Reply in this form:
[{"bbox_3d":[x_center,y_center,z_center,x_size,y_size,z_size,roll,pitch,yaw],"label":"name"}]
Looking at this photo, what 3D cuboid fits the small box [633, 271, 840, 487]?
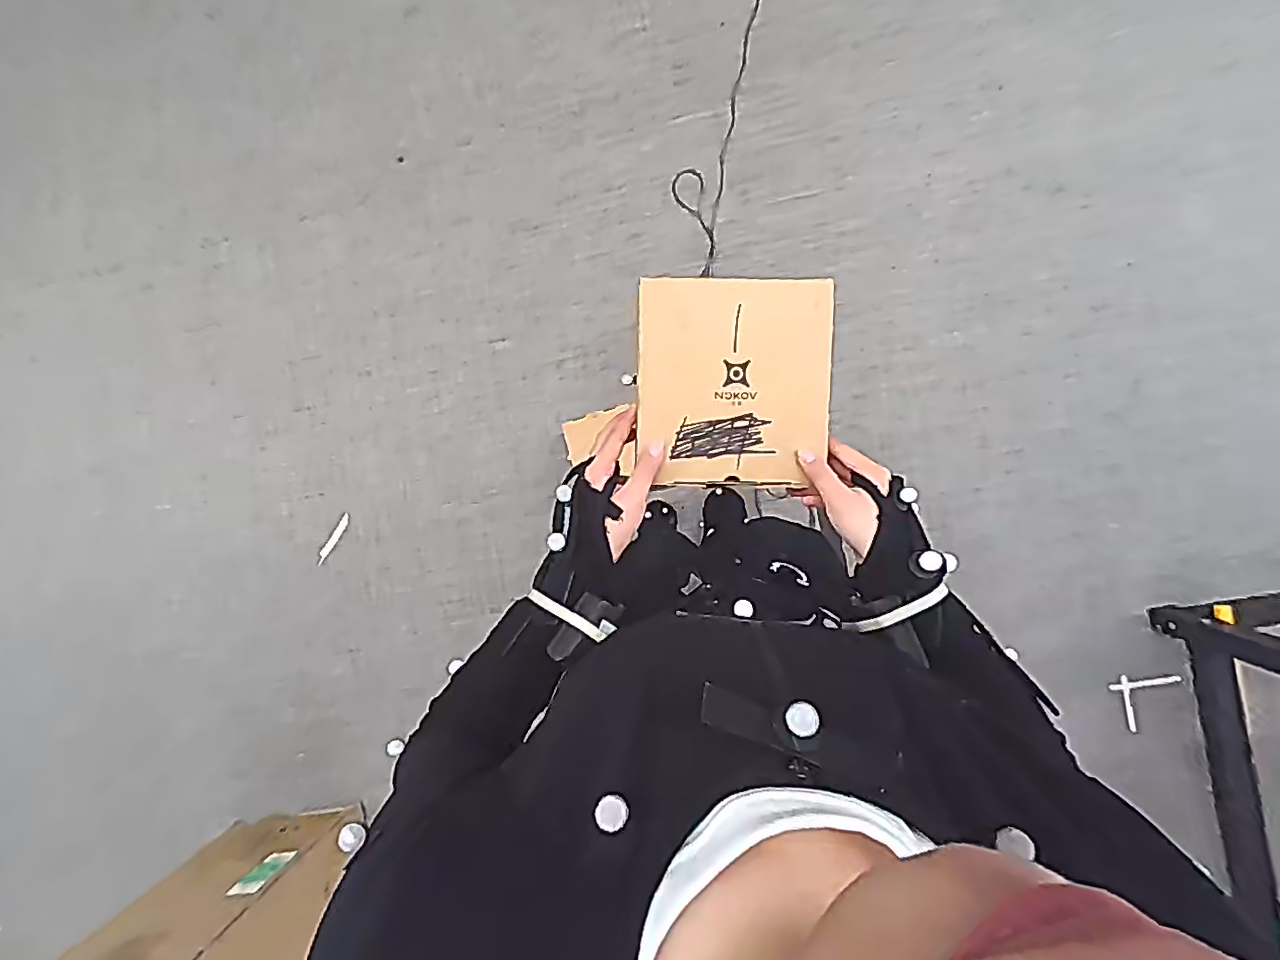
[{"bbox_3d":[0.079,-0.090,0.526,0.168,0.176,0.179,1,95,-2],"label":"small box"}]
